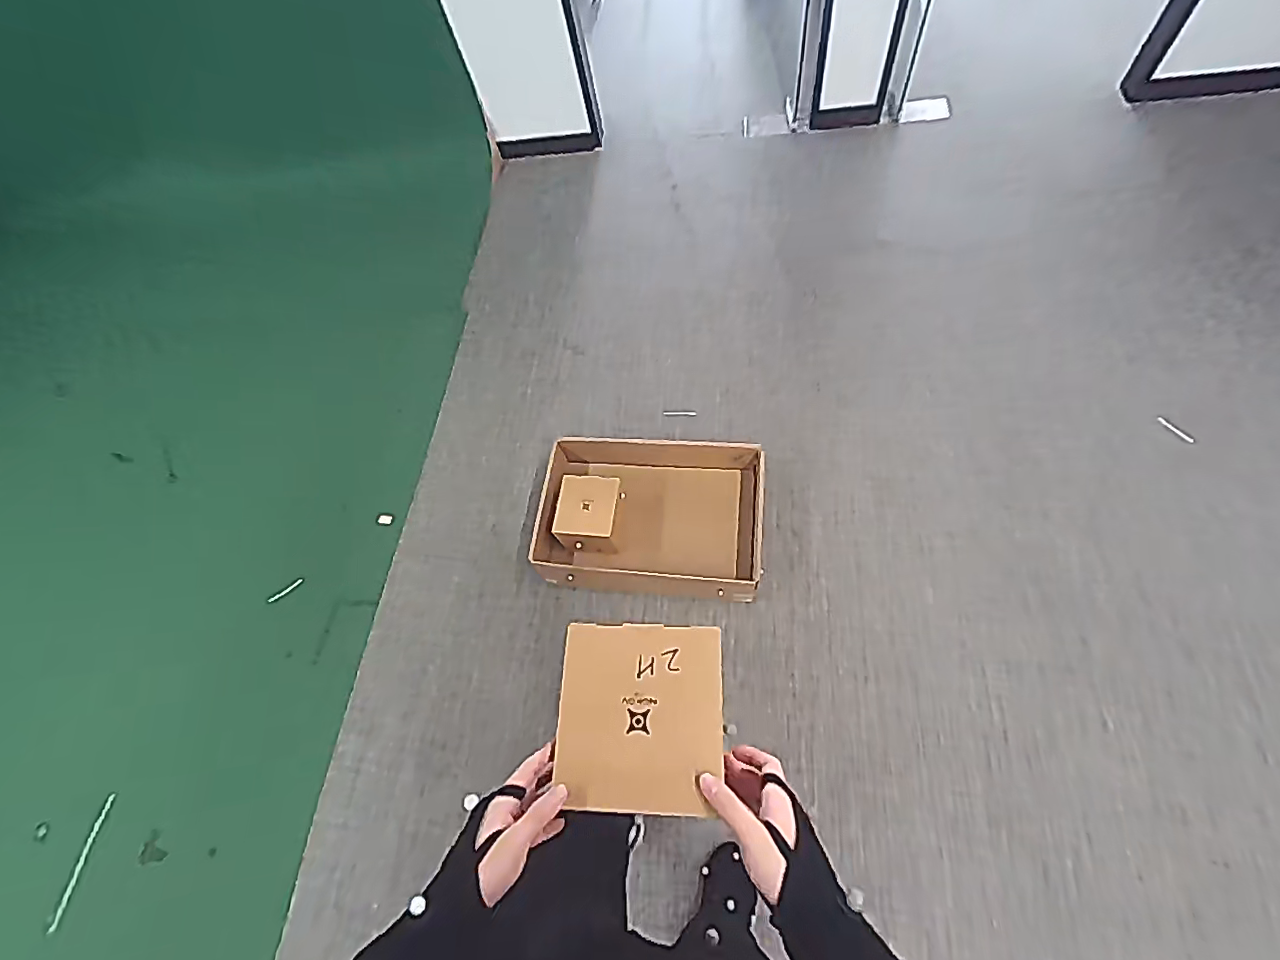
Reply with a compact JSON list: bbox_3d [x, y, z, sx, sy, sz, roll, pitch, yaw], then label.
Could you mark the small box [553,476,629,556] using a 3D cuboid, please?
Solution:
[{"bbox_3d":[-0.132,0.106,1.538,0.168,0.176,0.179,3,64,11],"label":"small box"}]
